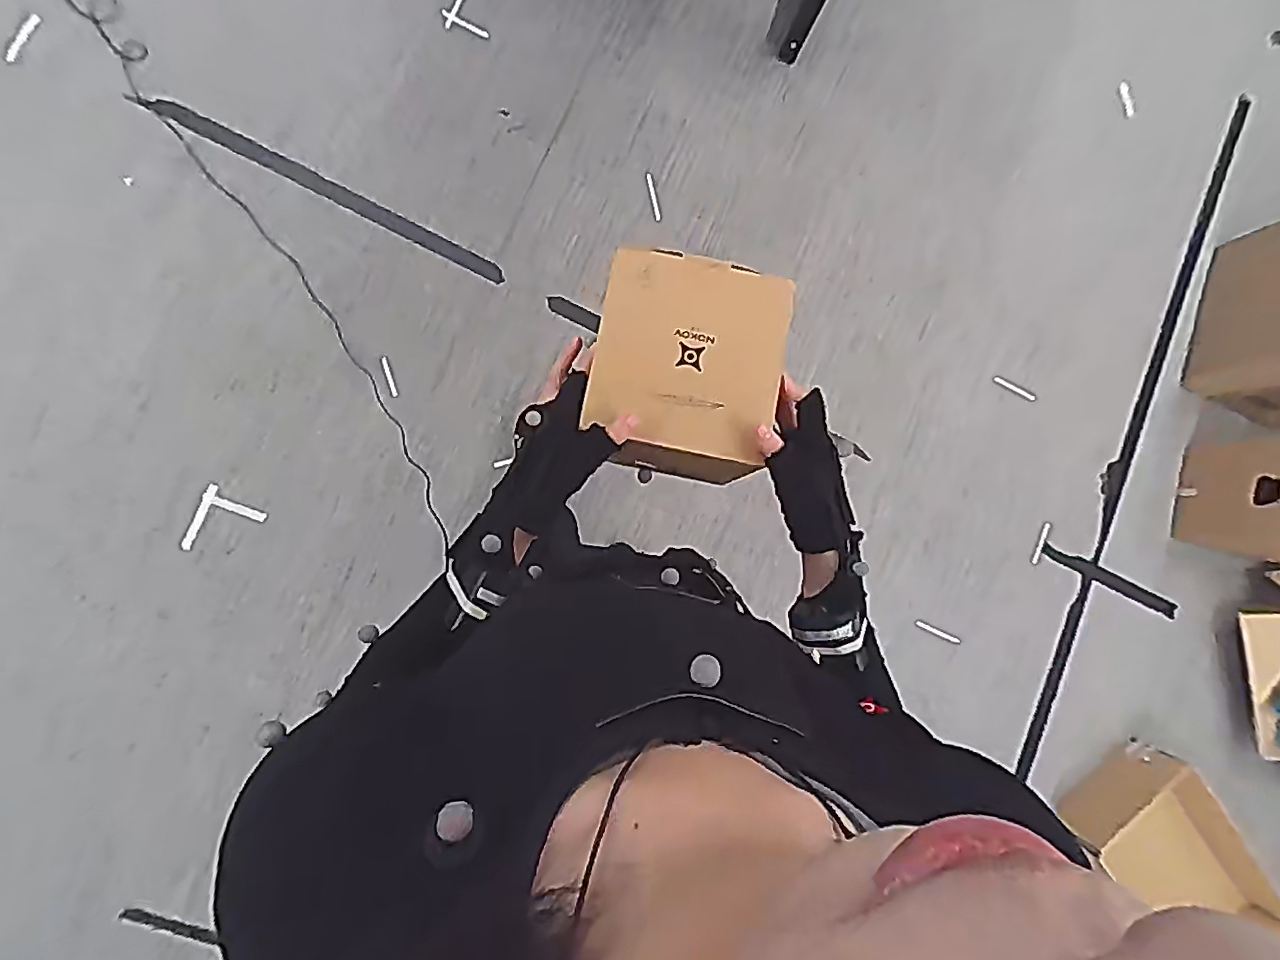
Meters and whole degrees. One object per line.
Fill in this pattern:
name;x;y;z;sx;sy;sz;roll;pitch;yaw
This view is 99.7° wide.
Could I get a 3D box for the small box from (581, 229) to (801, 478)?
small box;0.040;-0.109;0.539;0.168;0.176;0.179;12;84;-3
